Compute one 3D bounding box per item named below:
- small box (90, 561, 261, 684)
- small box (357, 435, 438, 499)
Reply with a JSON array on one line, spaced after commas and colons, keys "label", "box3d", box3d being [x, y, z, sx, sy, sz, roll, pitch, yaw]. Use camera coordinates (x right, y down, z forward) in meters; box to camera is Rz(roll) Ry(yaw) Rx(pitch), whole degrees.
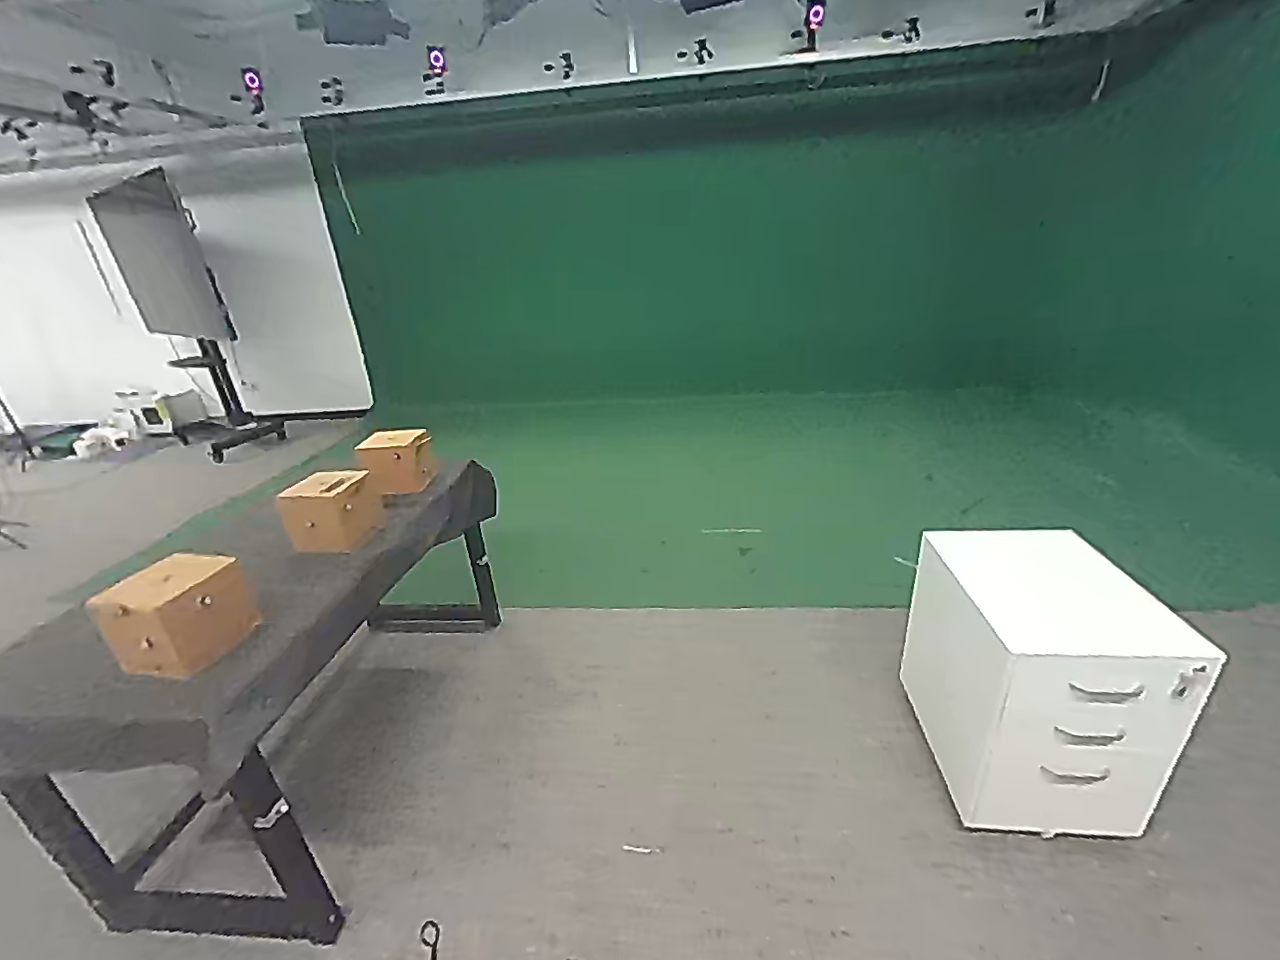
[{"label": "small box", "box3d": [-0.905, 0.280, 1.075, 0.168, 0.176, 0.179, 2, 23, 12]}, {"label": "small box", "box3d": [-0.800, -0.042, 1.804, 0.179, 0.176, 0.168, -4, 23, 2]}]
